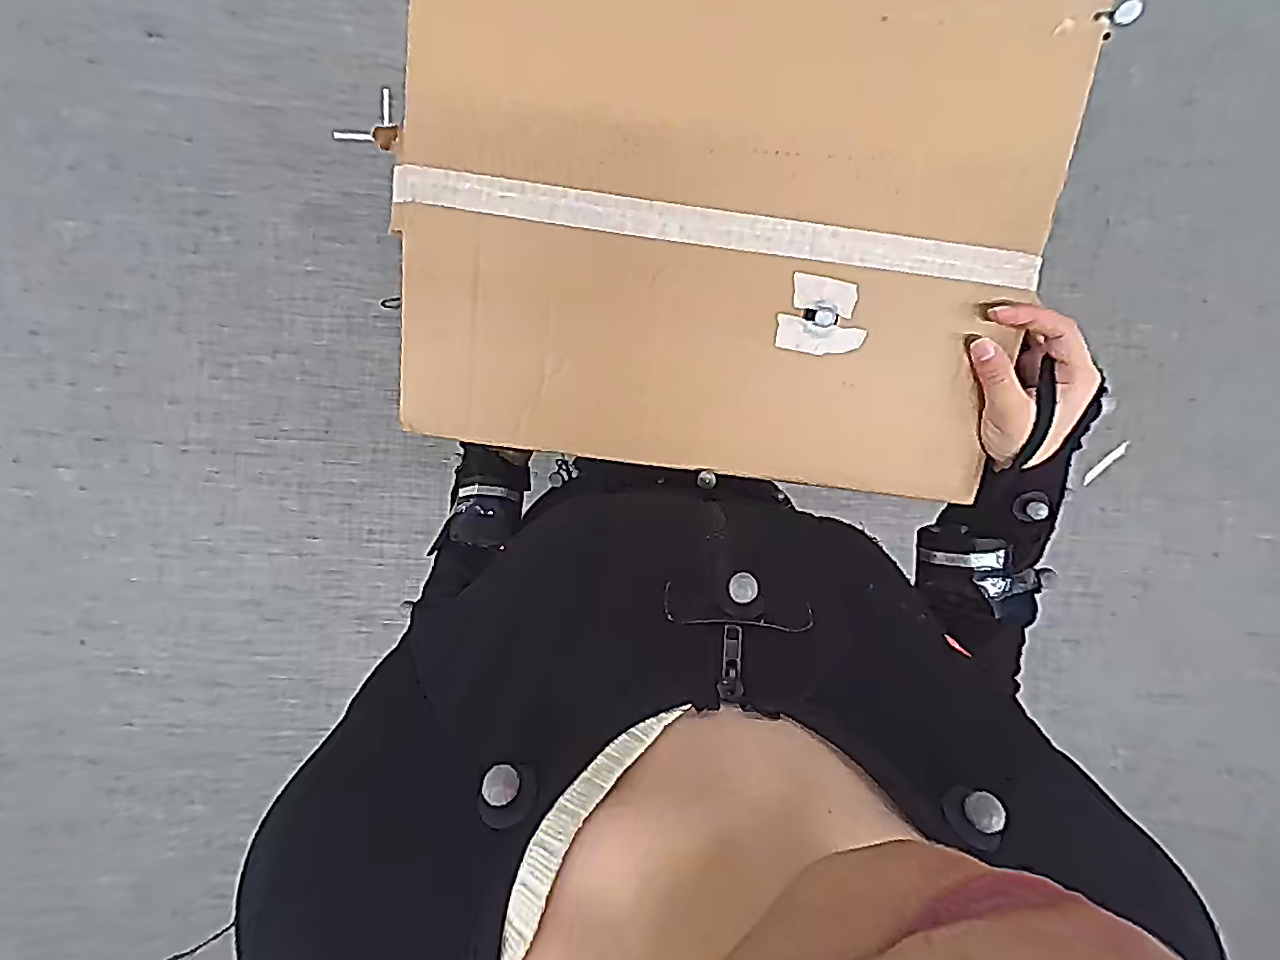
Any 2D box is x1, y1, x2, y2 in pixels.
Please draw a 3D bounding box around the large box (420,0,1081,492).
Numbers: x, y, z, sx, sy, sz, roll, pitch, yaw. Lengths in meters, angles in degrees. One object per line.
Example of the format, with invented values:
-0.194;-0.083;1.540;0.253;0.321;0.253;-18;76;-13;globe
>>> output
0.053;-0.190;0.497;0.408;0.320;0.320;6;104;-4;large box
